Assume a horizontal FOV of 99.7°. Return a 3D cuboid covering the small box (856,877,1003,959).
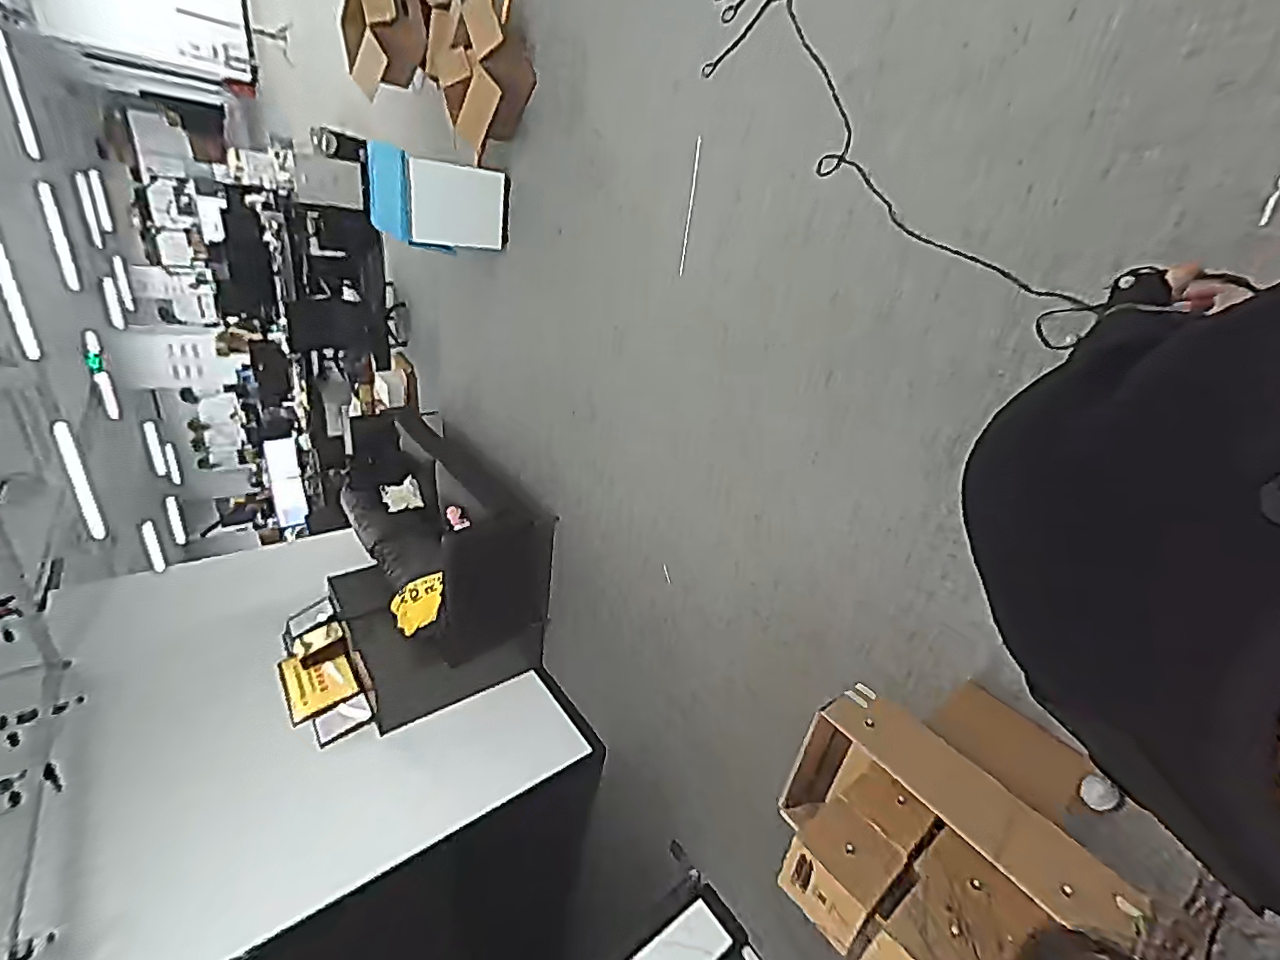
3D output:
[{"bbox_3d":[0.549,0.919,1.029,0.168,0.176,0.179,37,128,42],"label":"small box"}]
